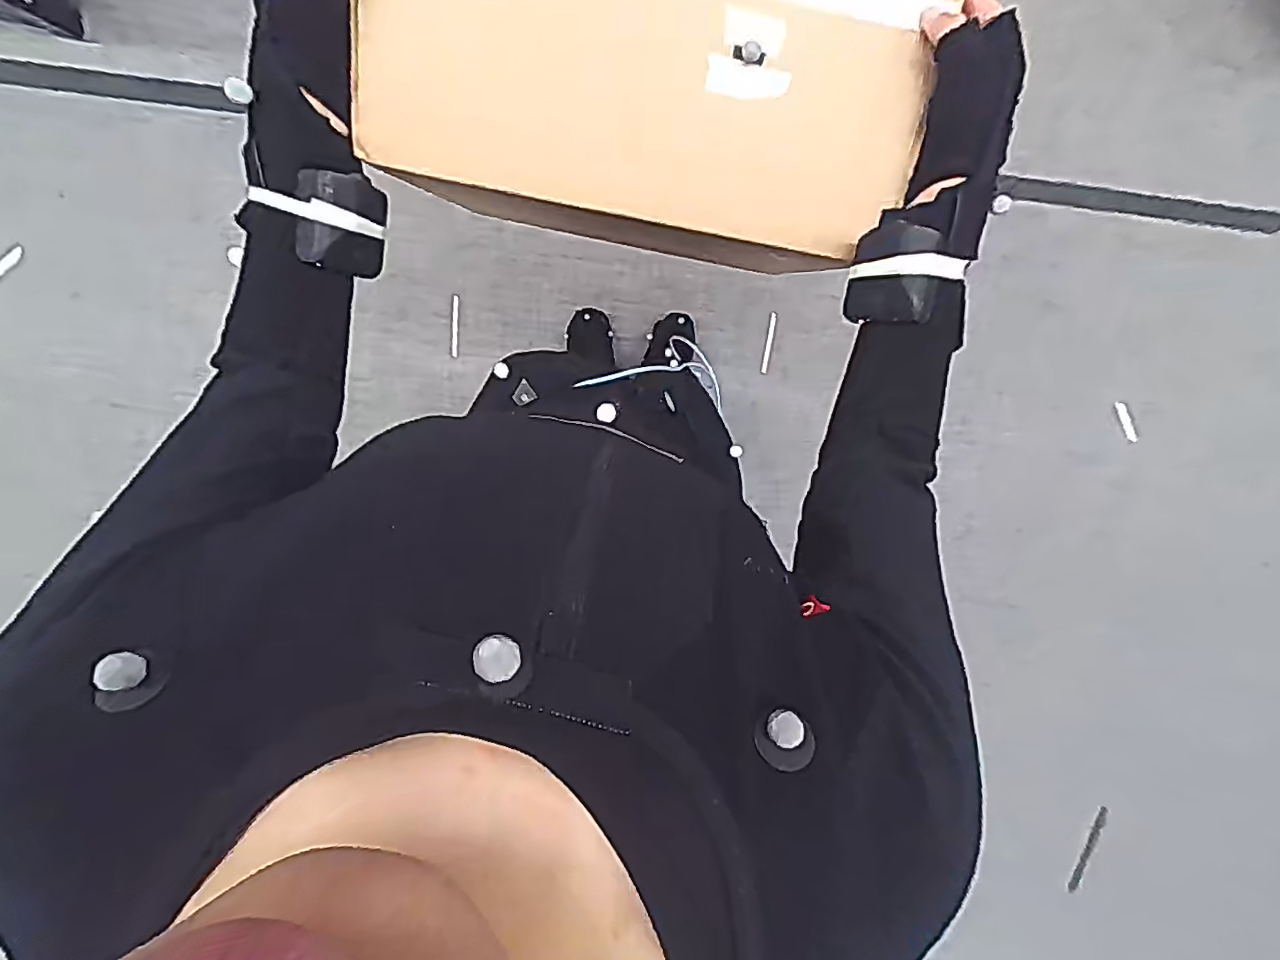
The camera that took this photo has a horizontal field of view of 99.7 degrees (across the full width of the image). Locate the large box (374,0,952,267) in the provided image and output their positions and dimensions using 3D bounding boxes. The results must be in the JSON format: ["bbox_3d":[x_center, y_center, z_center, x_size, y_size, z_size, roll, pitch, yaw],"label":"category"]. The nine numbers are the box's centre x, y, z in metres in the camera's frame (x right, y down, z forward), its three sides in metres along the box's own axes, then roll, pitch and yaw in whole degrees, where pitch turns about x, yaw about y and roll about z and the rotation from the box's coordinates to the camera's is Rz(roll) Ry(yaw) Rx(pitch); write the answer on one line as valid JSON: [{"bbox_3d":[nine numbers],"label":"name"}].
[{"bbox_3d":[0.016,-0.401,0.509,0.408,0.320,0.320,9,110,-6],"label":"large box"}]
